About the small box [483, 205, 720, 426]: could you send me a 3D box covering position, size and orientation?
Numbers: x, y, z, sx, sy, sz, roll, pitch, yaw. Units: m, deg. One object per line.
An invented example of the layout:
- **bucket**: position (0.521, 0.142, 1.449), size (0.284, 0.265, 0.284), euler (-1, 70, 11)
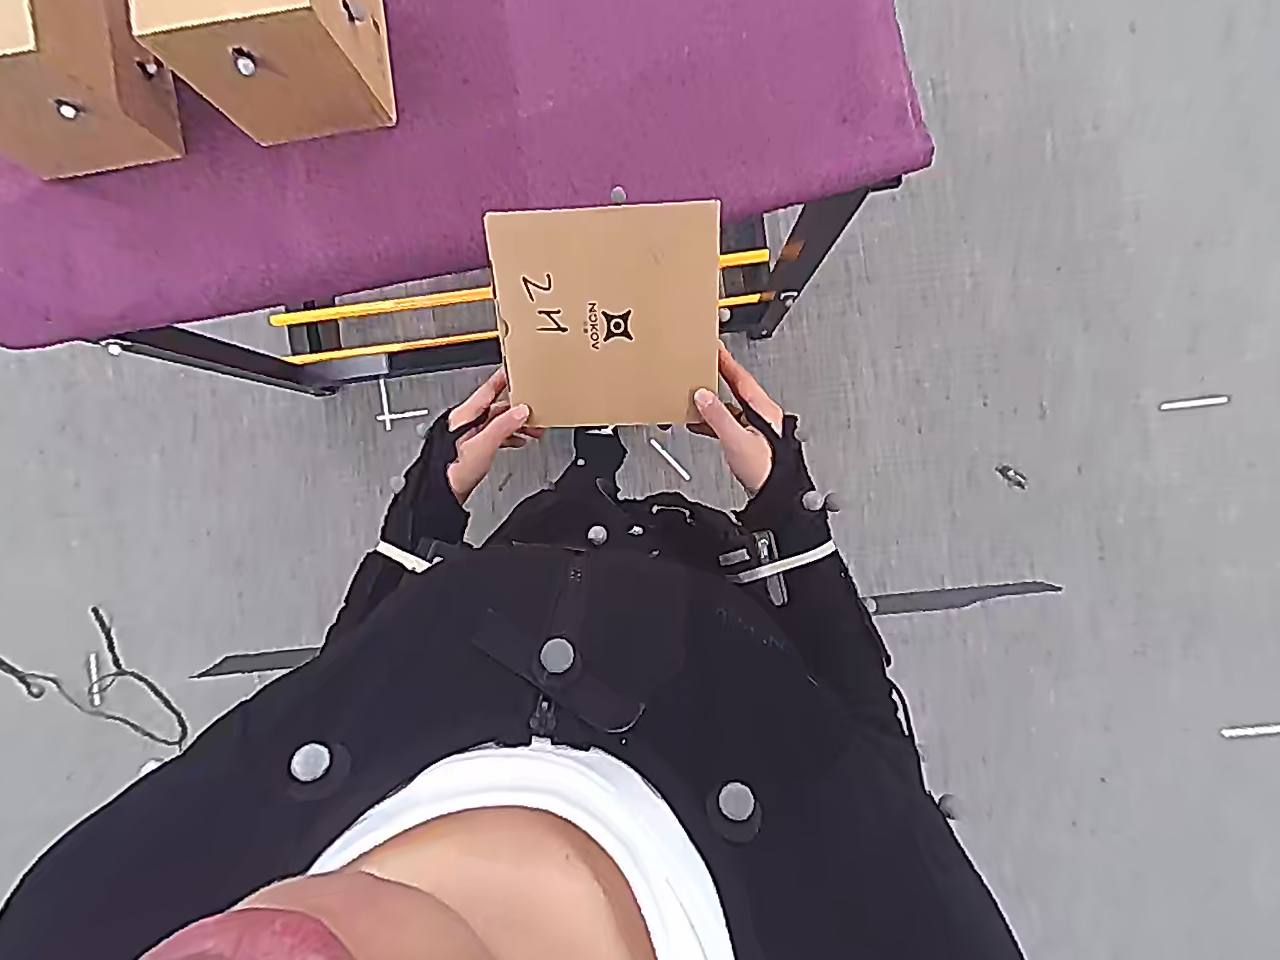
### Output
- **small box**: position (-0.022, -0.153, 0.493), size (0.179, 0.176, 0.168), euler (-1, 113, 5)

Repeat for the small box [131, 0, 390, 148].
- **small box**: position (-0.390, -0.494, 0.579), size (0.179, 0.176, 0.168), euler (-7, 89, 3)
